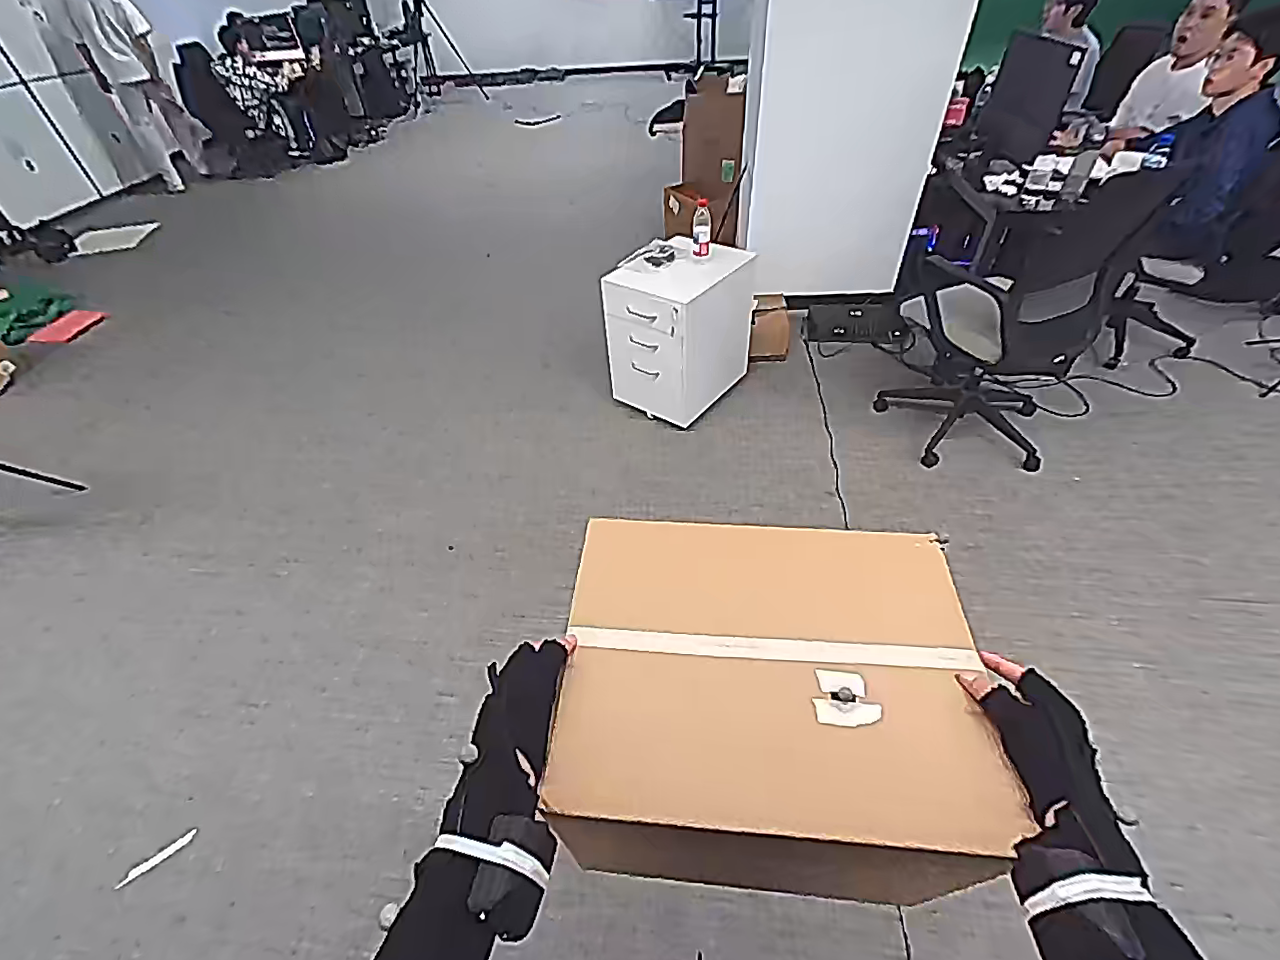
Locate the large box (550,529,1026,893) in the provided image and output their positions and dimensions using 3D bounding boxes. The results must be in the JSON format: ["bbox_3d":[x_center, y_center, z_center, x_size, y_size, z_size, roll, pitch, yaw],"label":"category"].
[{"bbox_3d":[0.133,0.279,0.660,0.408,0.320,0.320,2,48,5],"label":"large box"}]
